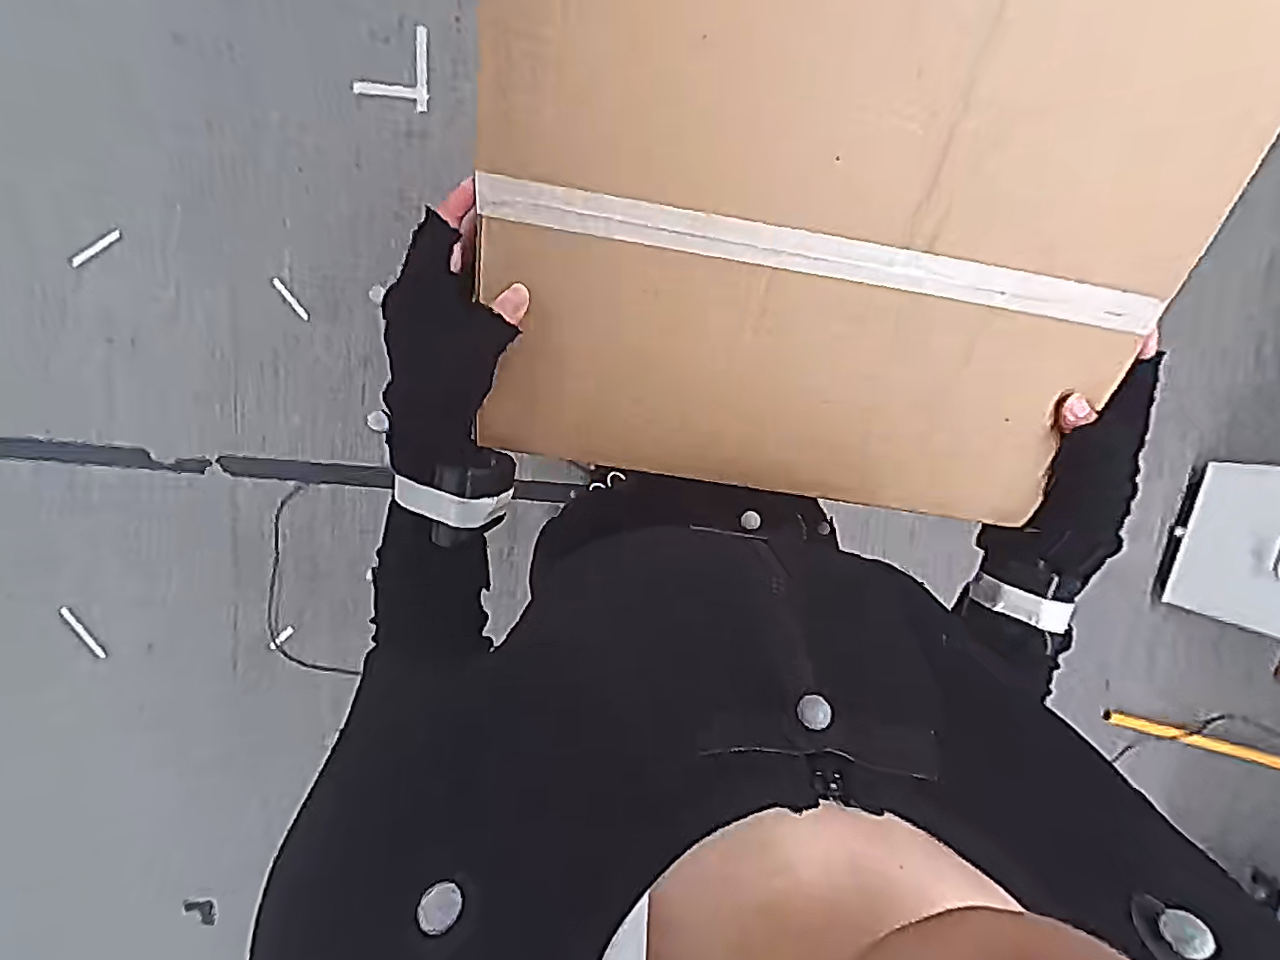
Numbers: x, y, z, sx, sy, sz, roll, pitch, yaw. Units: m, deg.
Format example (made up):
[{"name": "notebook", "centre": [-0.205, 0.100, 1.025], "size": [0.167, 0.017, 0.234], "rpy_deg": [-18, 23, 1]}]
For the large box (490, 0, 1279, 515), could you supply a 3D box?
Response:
[{"name": "large box", "centre": [0.110, -0.202, 0.450], "size": [0.408, 0.320, 0.320], "rpy_deg": [8, 121, -5]}]
